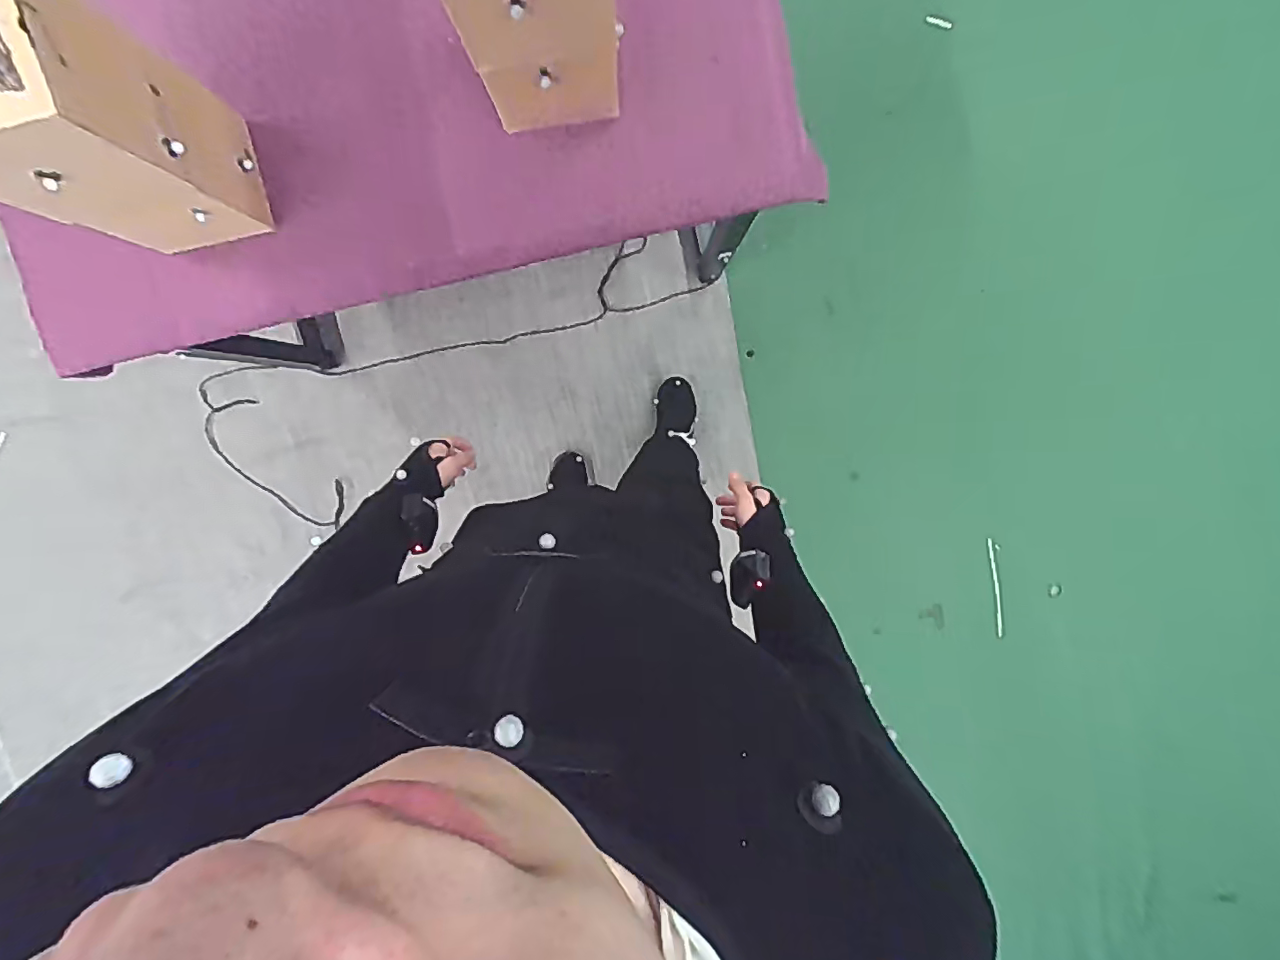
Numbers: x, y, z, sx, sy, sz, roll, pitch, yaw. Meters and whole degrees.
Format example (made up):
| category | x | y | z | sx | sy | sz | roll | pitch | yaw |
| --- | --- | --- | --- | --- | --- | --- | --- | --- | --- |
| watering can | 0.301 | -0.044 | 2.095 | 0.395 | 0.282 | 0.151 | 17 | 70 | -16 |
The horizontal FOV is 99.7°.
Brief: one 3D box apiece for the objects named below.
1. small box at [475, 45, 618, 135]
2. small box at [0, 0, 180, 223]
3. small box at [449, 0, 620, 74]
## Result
| category | x | y | z | sx | sy | sz | roll | pitch | yaw |
| --- | --- | --- | --- | --- | --- | --- | --- | --- | --- |
| small box | -0.125 | -0.597 | 0.726 | 0.179 | 0.176 | 0.168 | -8 | 98 | 1 |
| small box | -0.643 | -0.399 | 0.570 | 0.179 | 0.176 | 0.168 | -15 | 97 | 1 |
| small box | -0.120 | -0.566 | 0.565 | 0.179 | 0.176 | 0.168 | -7 | 98 | 1 |
